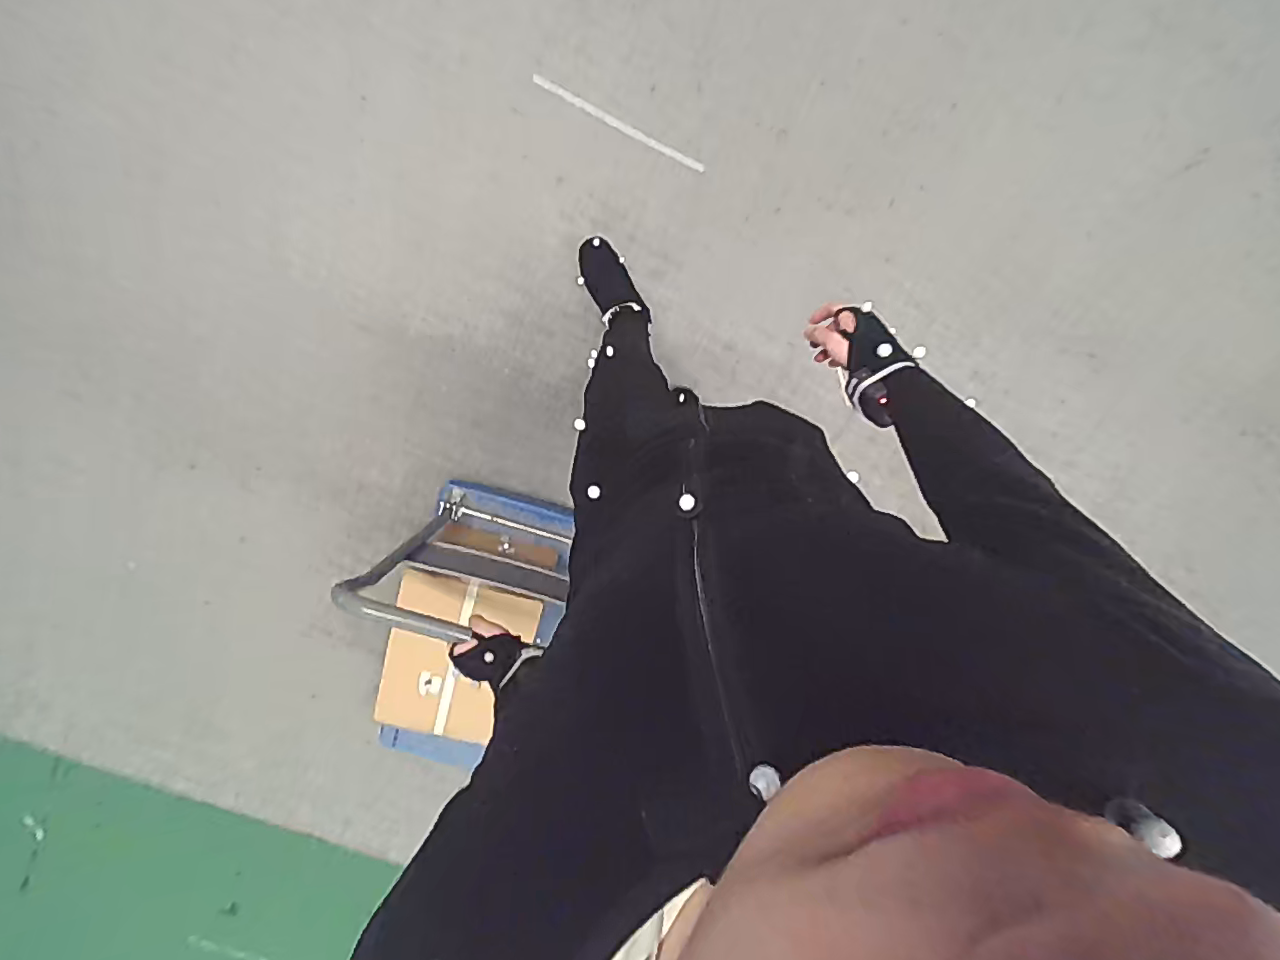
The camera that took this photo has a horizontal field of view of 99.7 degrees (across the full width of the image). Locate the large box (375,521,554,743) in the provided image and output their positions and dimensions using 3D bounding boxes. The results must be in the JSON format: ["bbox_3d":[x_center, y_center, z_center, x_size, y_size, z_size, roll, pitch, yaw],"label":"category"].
[{"bbox_3d":[-0.422,0.364,1.362,0.320,0.320,0.408,16,104,-6],"label":"large box"}]
